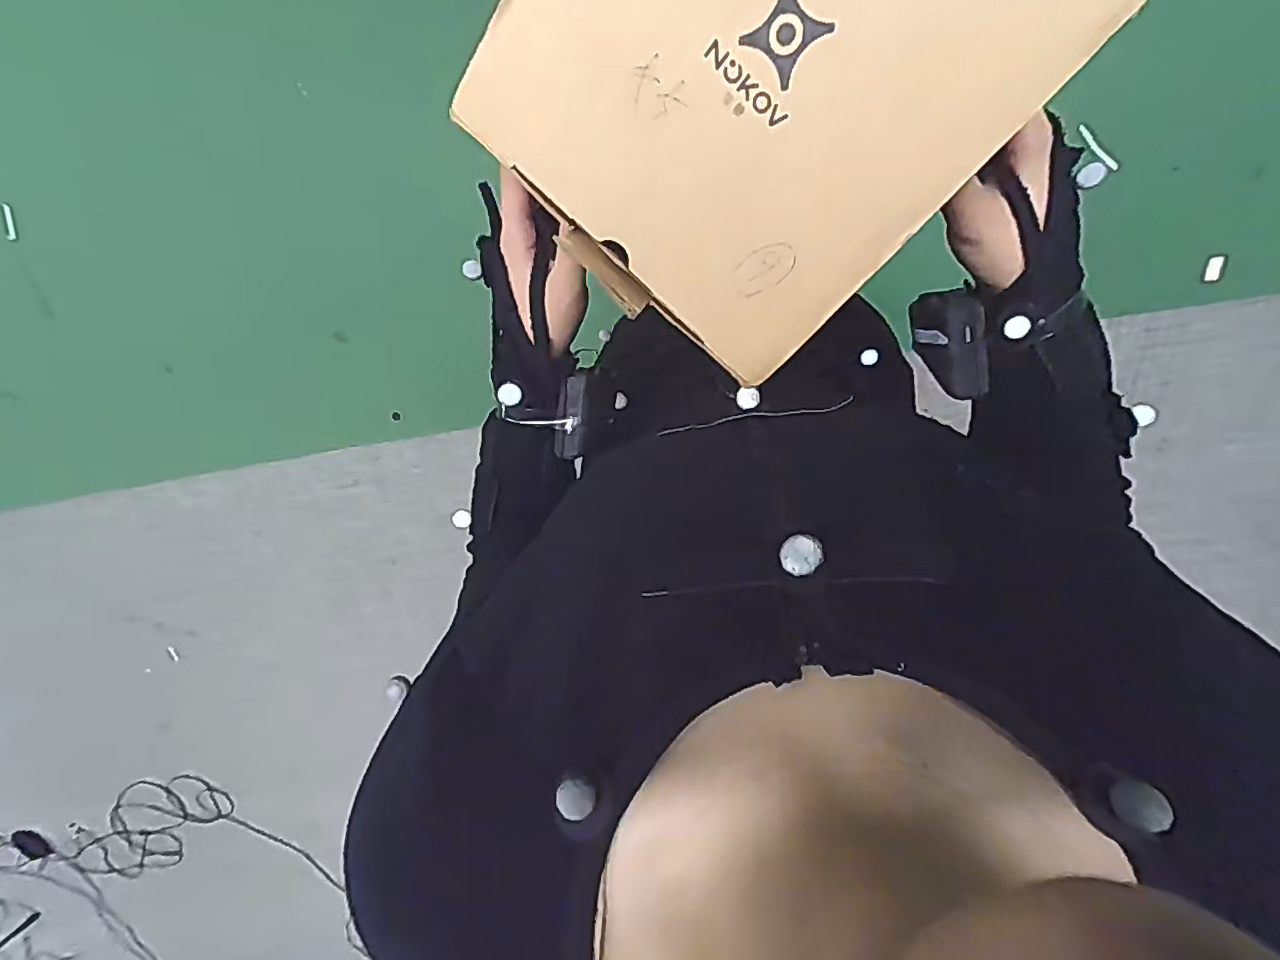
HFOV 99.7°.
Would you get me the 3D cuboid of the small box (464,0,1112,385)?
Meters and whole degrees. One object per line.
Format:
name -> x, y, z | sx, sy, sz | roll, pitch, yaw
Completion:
small box -> 0.054, -0.182, 0.269 | 0.168, 0.176, 0.179 | 39, 115, -11
